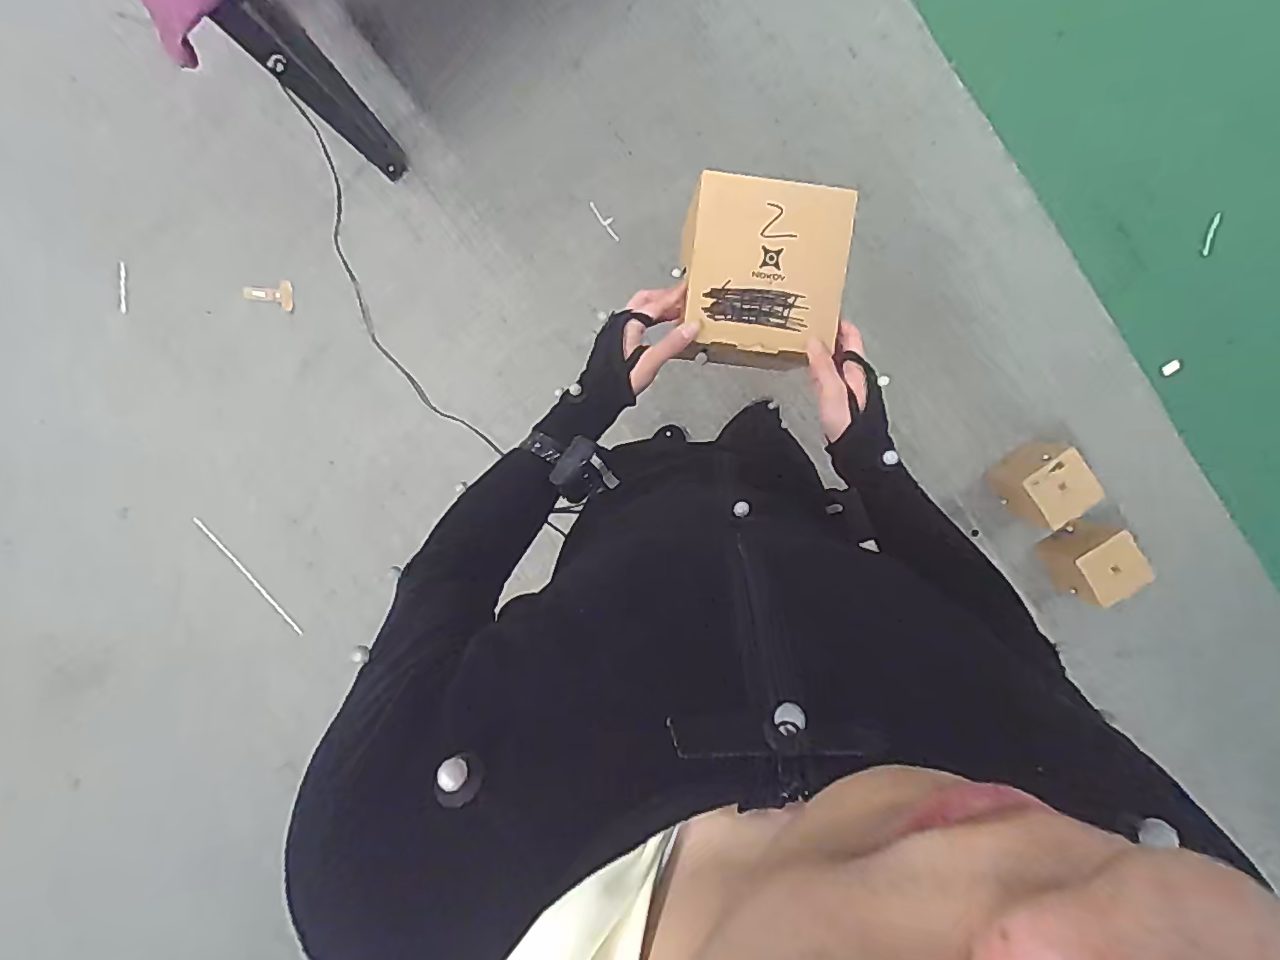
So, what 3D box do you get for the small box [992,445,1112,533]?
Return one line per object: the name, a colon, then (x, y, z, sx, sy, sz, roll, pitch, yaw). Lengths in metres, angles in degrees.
small box: (1.153, 0.019, 1.525, 0.168, 0.176, 0.179, -36, 97, 5)
